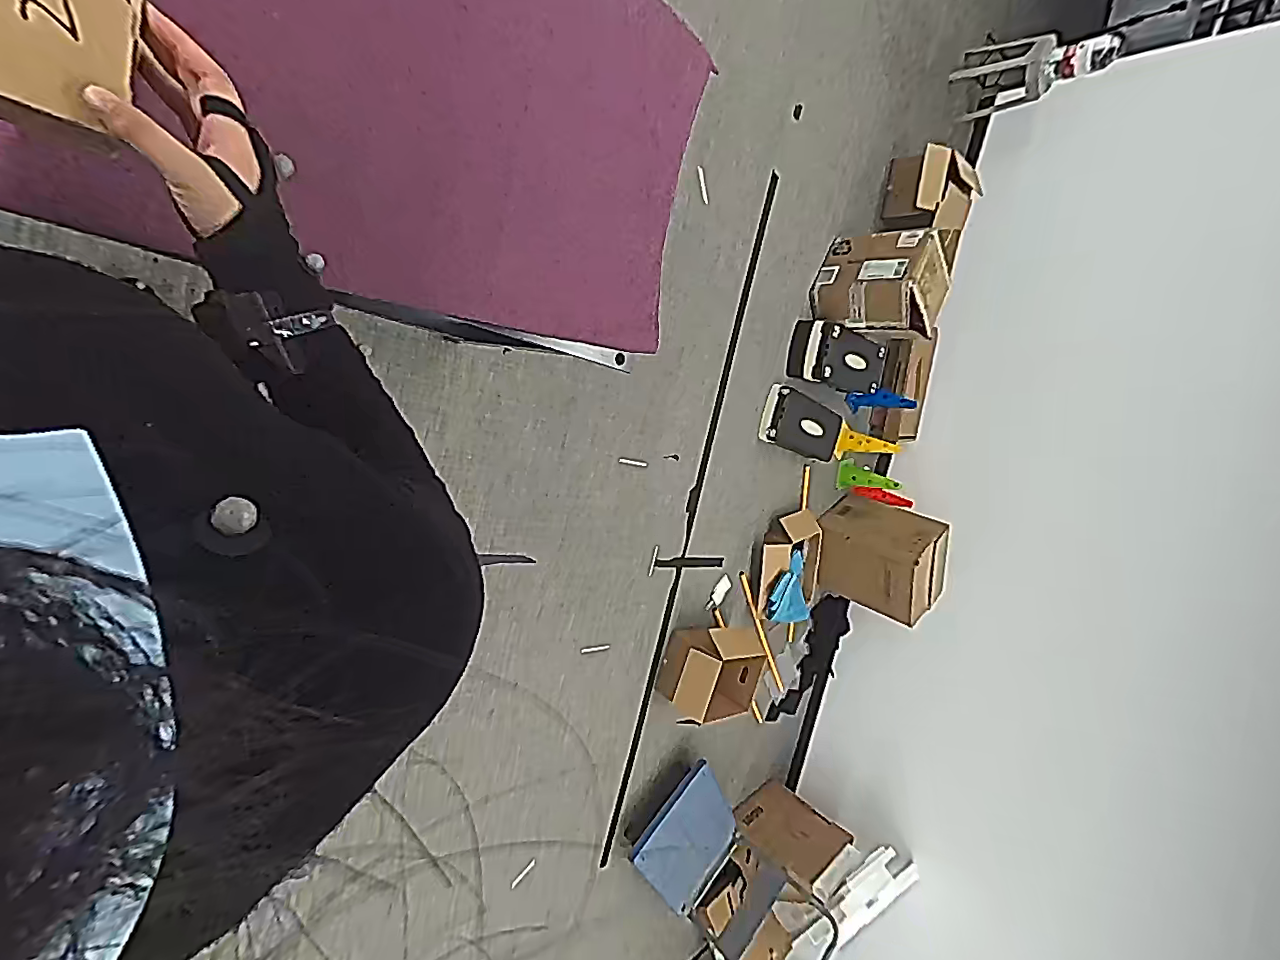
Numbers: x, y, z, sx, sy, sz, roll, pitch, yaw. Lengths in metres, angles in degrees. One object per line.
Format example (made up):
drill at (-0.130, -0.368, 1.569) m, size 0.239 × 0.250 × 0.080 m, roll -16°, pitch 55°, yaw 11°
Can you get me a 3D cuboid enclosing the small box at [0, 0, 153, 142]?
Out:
small box at (-0.403, -0.319, 0.310) m, size 0.179 × 0.176 × 0.168 m, roll 5°, pitch 106°, yaw -49°
